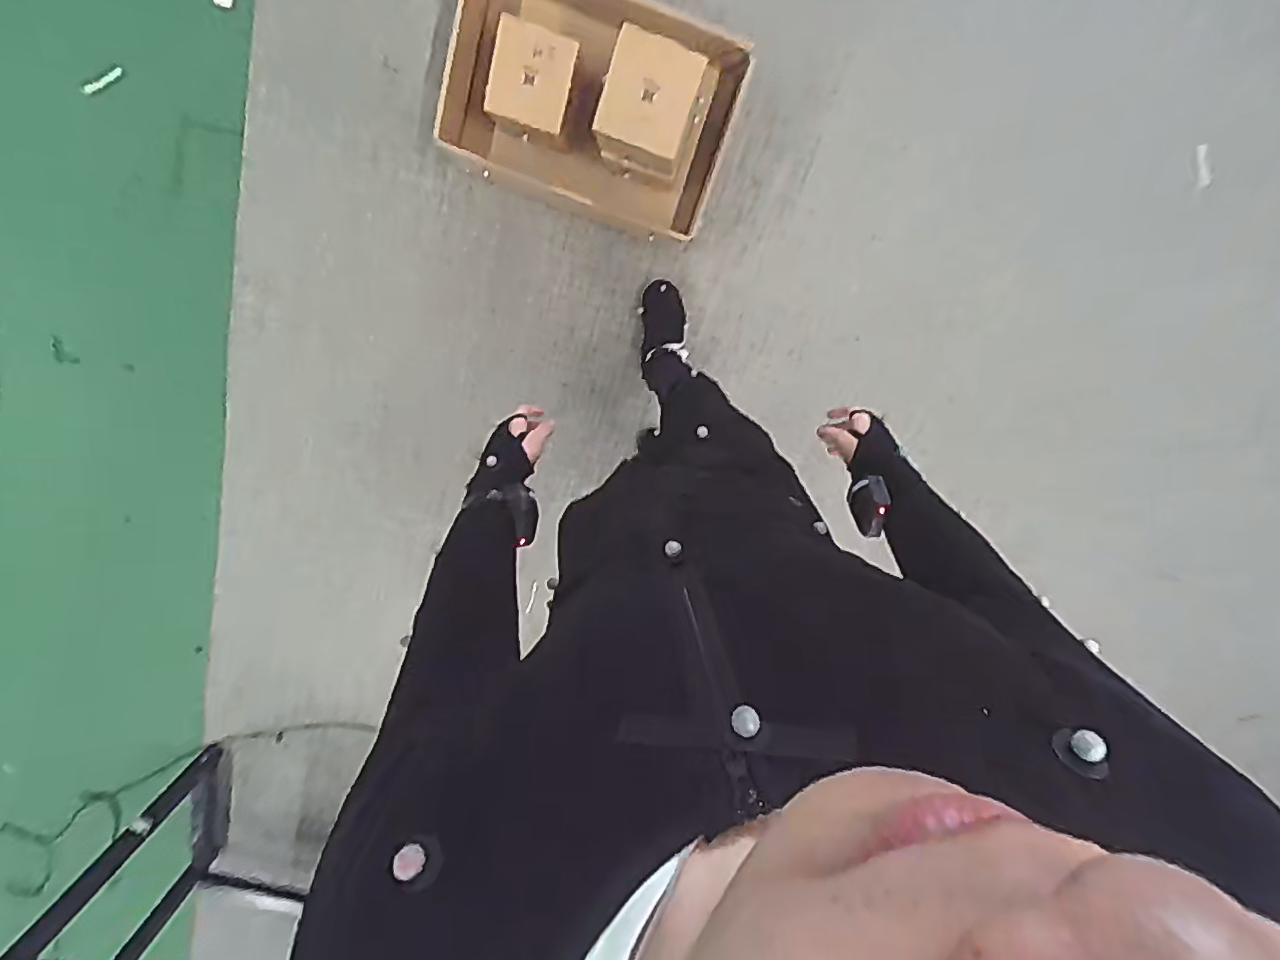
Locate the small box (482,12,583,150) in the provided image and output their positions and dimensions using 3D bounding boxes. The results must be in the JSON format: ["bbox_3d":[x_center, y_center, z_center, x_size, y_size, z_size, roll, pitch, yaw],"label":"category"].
[{"bbox_3d":[-0.228,-0.858,1.185,0.168,0.176,0.179,17,108,-7],"label":"small box"}]

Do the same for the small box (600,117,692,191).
[{"bbox_3d":[0.018,-0.776,1.214,0.168,0.176,0.179,18,107,-5],"label":"small box"}]

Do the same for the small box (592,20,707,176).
[{"bbox_3d":[0.015,-0.729,1.057,0.168,0.176,0.179,20,108,-5],"label":"small box"}]
